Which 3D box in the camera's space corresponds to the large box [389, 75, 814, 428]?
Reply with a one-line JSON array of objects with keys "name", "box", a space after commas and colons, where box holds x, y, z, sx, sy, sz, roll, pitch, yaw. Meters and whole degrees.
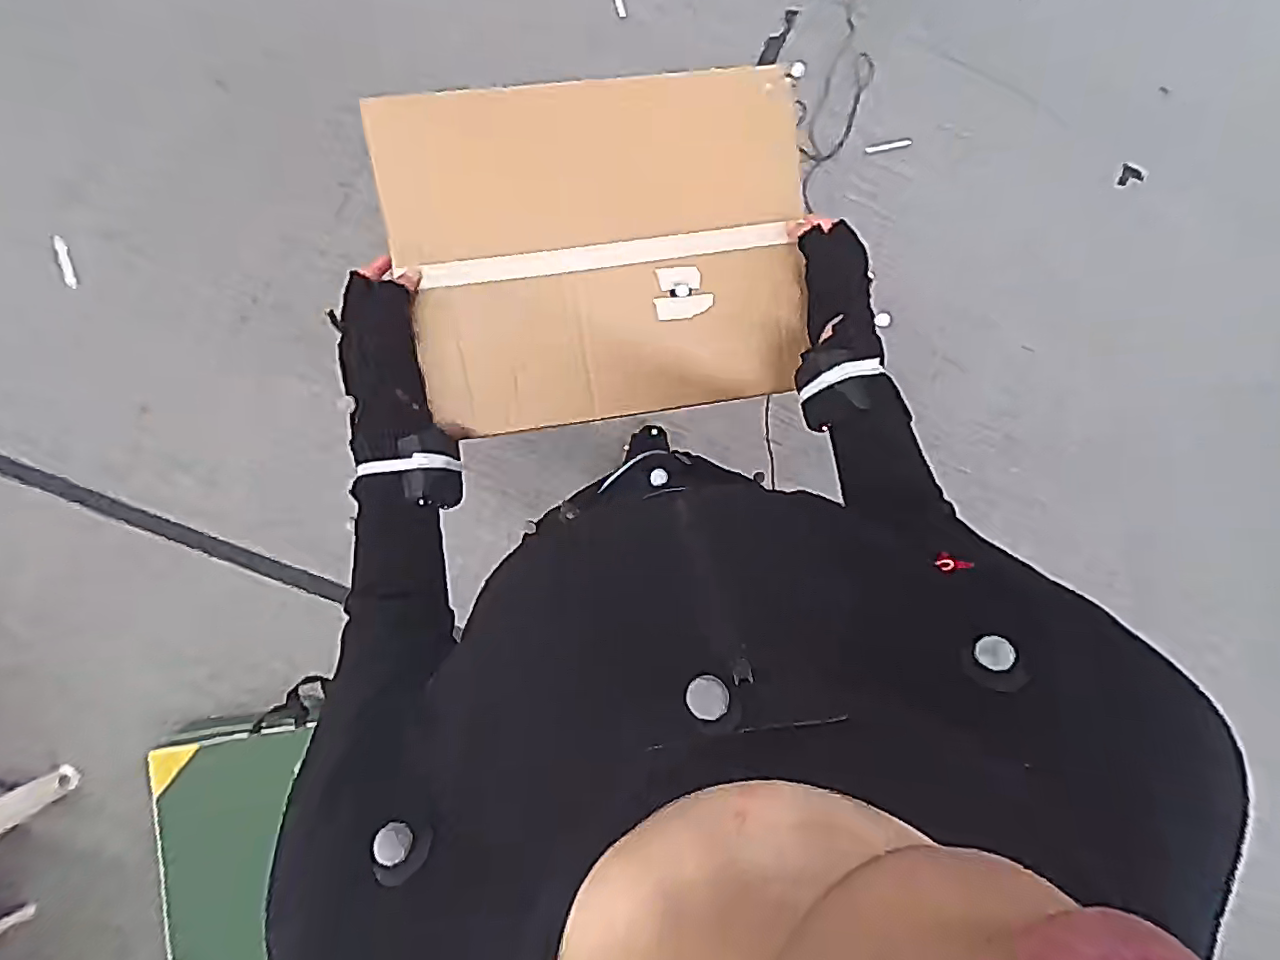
[{"name": "large box", "box": [-0.043, -0.252, 0.692, 0.408, 0.320, 0.320, -8, 100, -7]}]
